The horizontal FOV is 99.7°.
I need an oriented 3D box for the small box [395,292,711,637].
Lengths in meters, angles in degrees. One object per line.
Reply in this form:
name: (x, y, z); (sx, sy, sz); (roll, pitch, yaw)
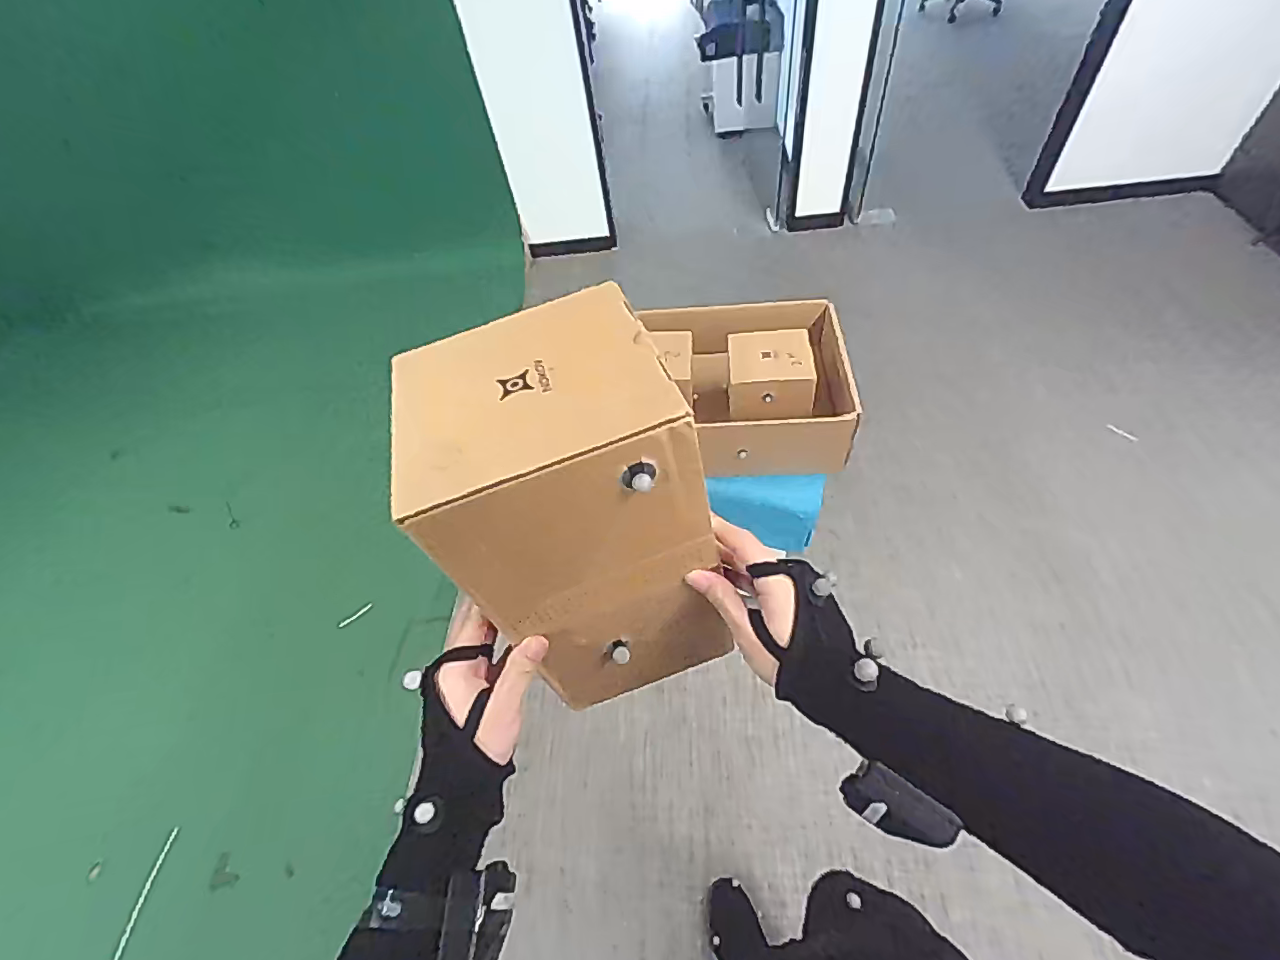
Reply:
small box: (-0.060, -0.008, 0.413); (0.179, 0.176, 0.168); (-20, 48, -4)

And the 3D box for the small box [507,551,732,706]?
small box: (-0.023, 0.096, 0.533); (0.179, 0.176, 0.168); (-20, 48, -2)
